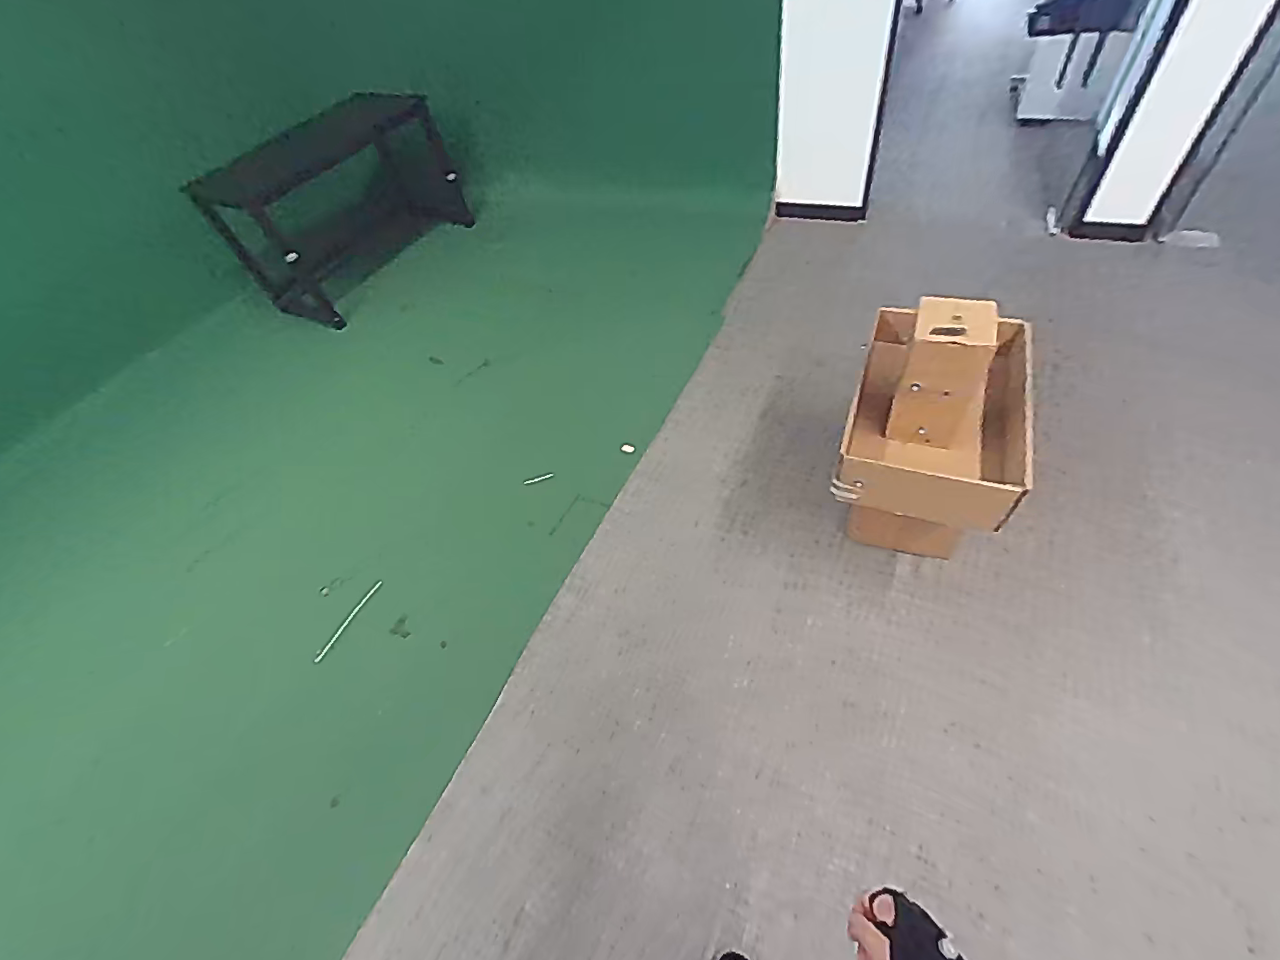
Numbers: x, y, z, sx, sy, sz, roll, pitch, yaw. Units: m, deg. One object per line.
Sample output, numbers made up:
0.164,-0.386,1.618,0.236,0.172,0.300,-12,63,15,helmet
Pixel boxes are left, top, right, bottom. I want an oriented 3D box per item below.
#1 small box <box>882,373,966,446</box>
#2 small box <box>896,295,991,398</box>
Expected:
0.752,-0.219,1.434,0.168,0.176,0.179,13,55,21,small box
0.729,-0.321,1.307,0.168,0.176,0.179,12,54,19,small box
